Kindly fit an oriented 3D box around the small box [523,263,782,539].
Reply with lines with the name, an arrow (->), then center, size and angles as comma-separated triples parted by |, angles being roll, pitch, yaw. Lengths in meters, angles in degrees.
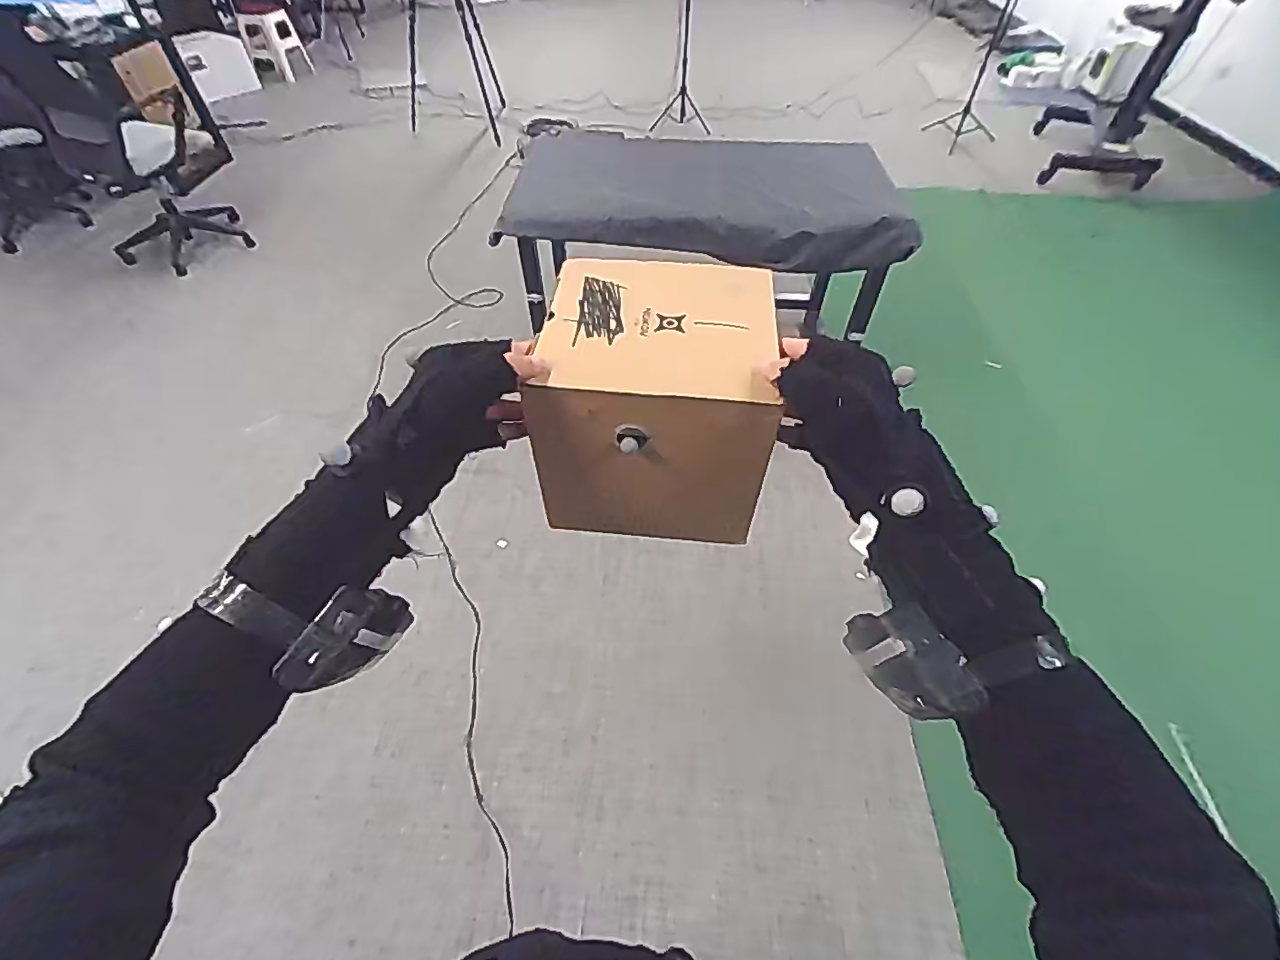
small box -> 0.015, -0.064, 0.468 | 0.179, 0.176, 0.168 | 6, 51, 3
